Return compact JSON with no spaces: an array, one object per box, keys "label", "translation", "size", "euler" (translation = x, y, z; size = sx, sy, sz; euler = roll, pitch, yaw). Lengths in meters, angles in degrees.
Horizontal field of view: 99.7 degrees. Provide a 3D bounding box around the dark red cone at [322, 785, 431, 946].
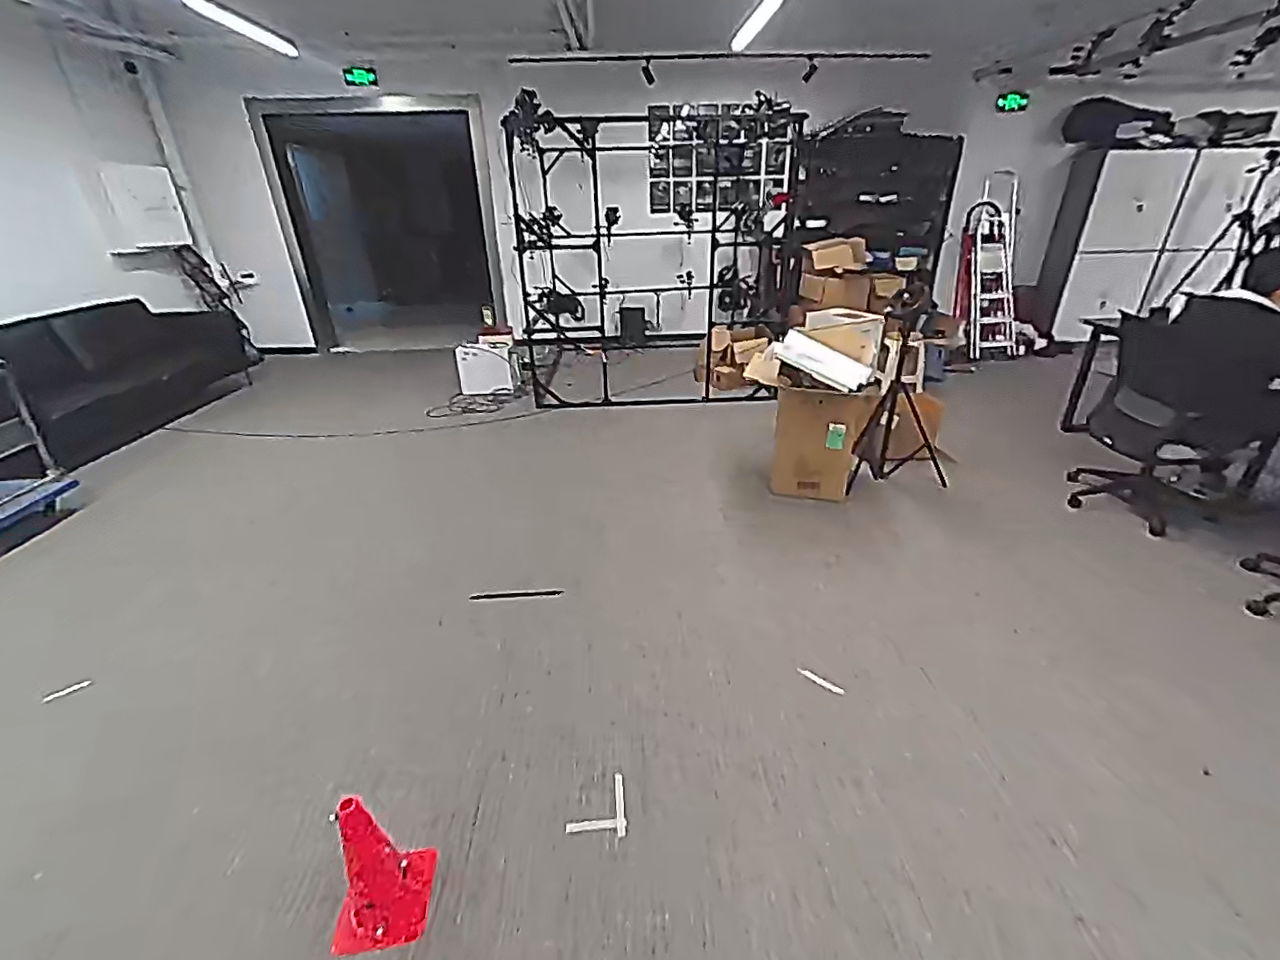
[{"label":"dark red cone","translation":[-0.601,0.801,1.173],"size":[0.202,0.394,0.201],"euler":[-5,28,-8]}]
